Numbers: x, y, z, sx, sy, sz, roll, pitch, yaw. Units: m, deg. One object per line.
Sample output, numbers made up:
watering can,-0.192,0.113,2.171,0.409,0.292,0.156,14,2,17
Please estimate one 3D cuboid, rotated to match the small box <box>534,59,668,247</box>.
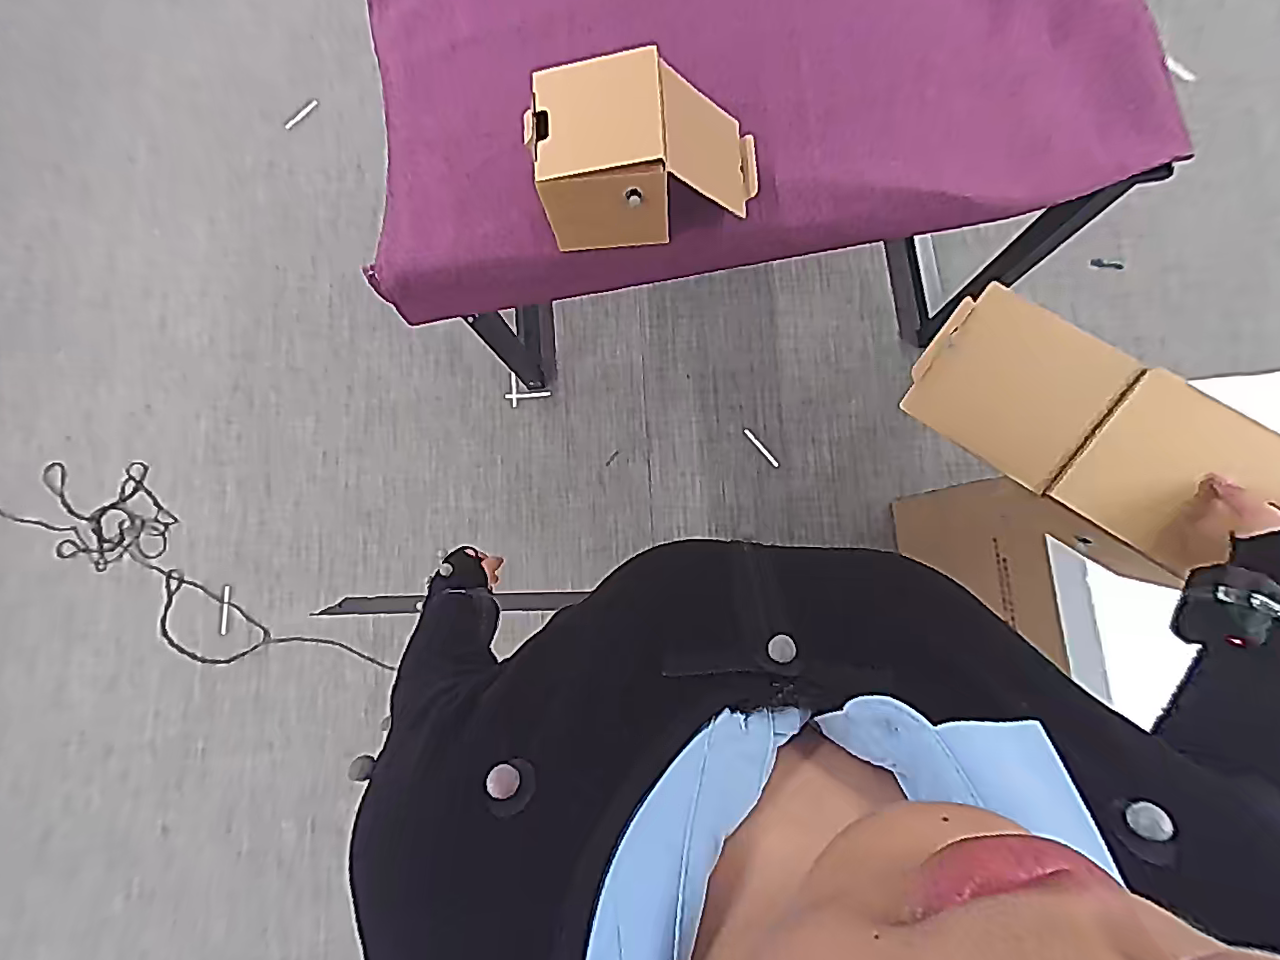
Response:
small box,-0.049,-0.466,0.794,0.179,0.176,0.168,-3,82,4
